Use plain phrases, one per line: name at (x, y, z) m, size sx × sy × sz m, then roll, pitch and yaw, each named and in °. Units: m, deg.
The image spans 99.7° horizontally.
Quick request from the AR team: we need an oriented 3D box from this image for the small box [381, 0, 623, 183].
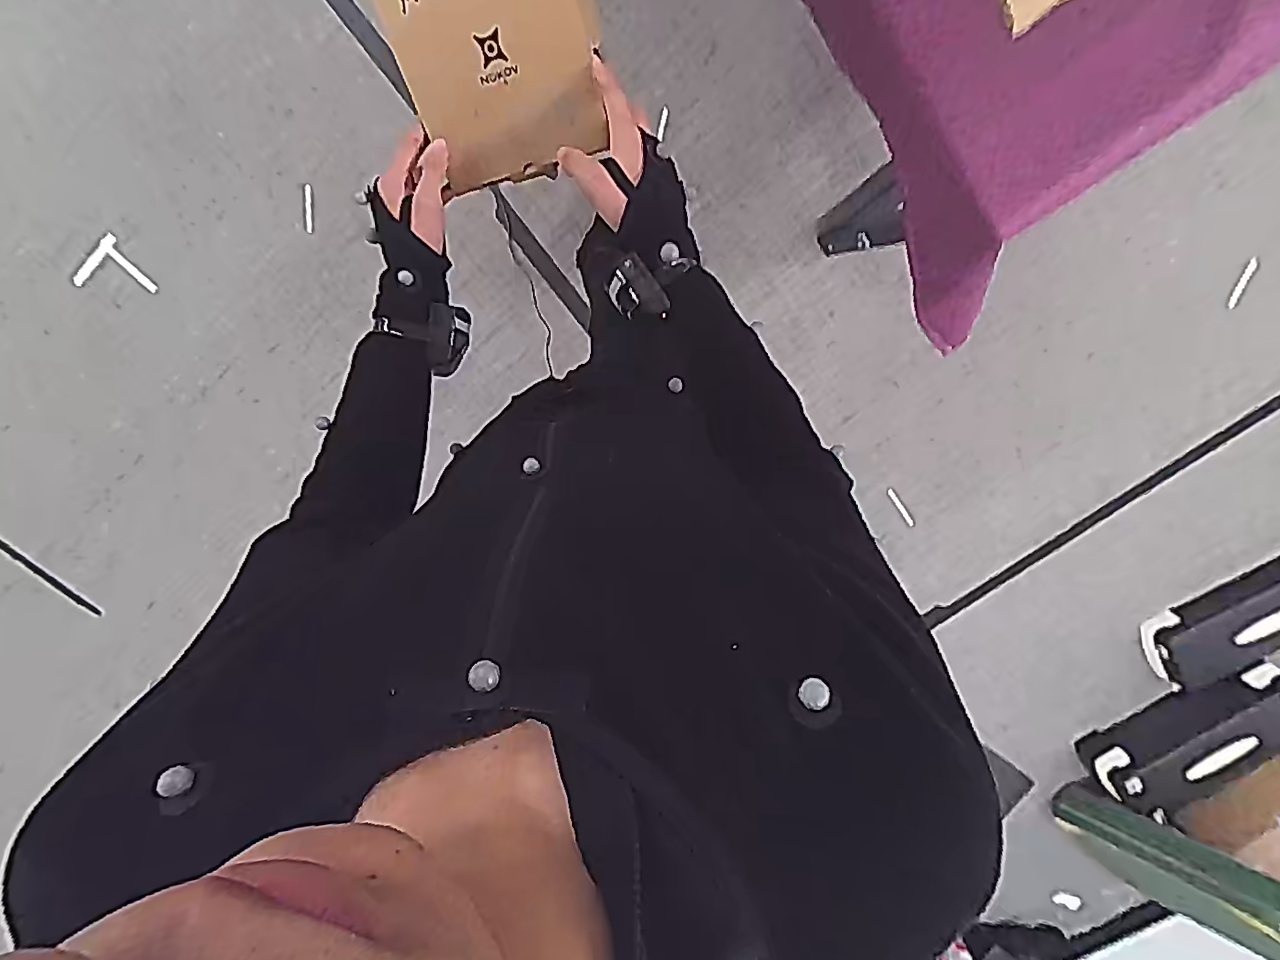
small box at (-0.118, -0.419, 0.525) m, size 0.168 × 0.176 × 0.179 m, roll -10°, pitch 127°, yaw 11°
